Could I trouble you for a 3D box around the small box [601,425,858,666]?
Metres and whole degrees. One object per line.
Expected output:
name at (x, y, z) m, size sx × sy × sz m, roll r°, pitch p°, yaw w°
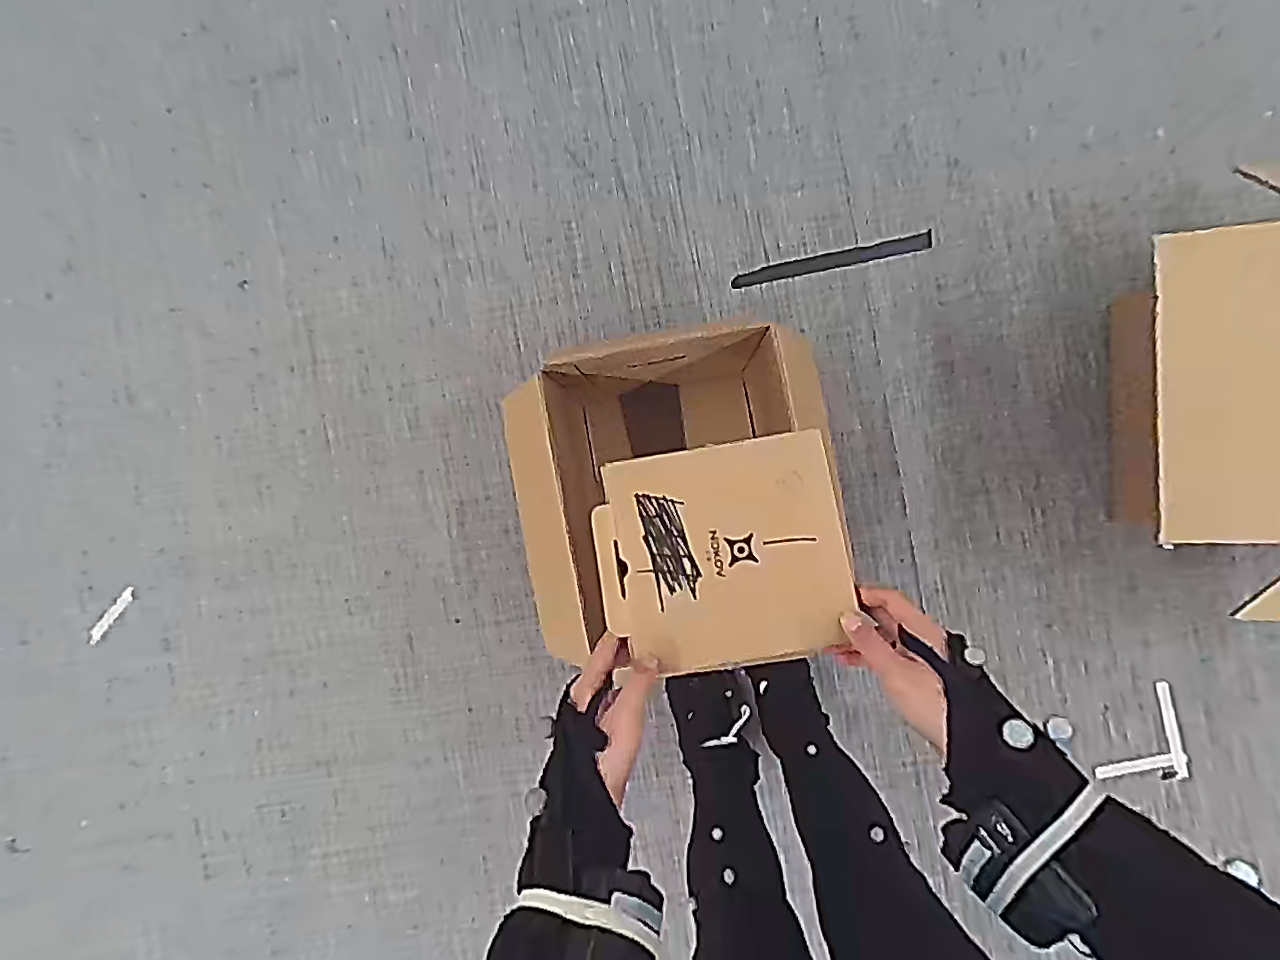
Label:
small box at (0.070, 0.060, 0.496) m, size 0.179 × 0.176 × 0.168 m, roll -10°, pitch 83°, yaw 1°
